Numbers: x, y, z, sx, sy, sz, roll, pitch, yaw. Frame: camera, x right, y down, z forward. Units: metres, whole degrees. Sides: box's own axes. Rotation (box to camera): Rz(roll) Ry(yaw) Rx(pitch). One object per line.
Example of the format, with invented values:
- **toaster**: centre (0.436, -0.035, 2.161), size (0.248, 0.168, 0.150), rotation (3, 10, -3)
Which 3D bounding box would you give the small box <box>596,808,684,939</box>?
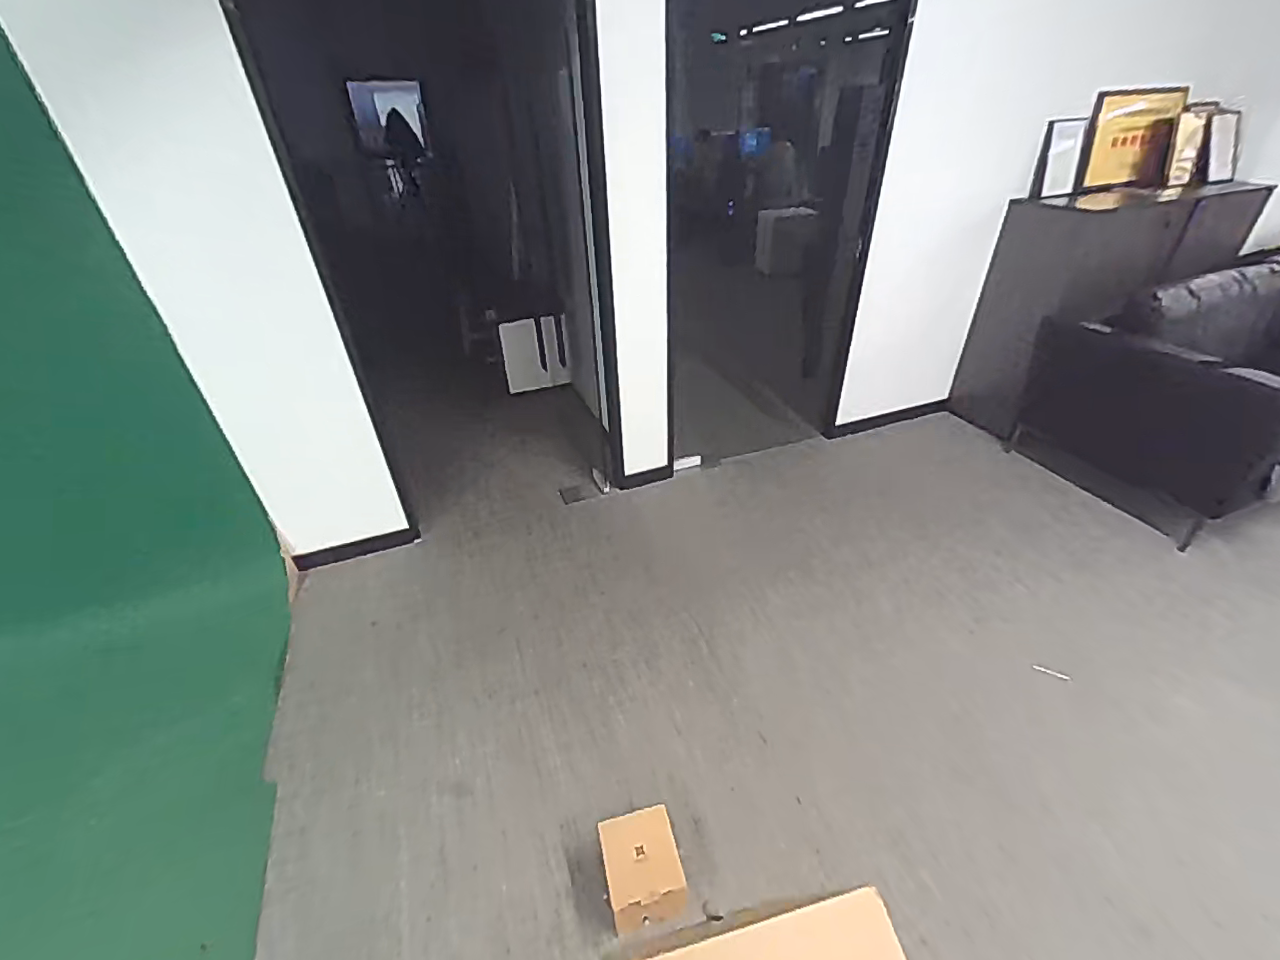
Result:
- **small box**: centre (-0.004, 0.908, 1.250), size (0.168, 0.176, 0.179), rotation (-9, 36, -12)
